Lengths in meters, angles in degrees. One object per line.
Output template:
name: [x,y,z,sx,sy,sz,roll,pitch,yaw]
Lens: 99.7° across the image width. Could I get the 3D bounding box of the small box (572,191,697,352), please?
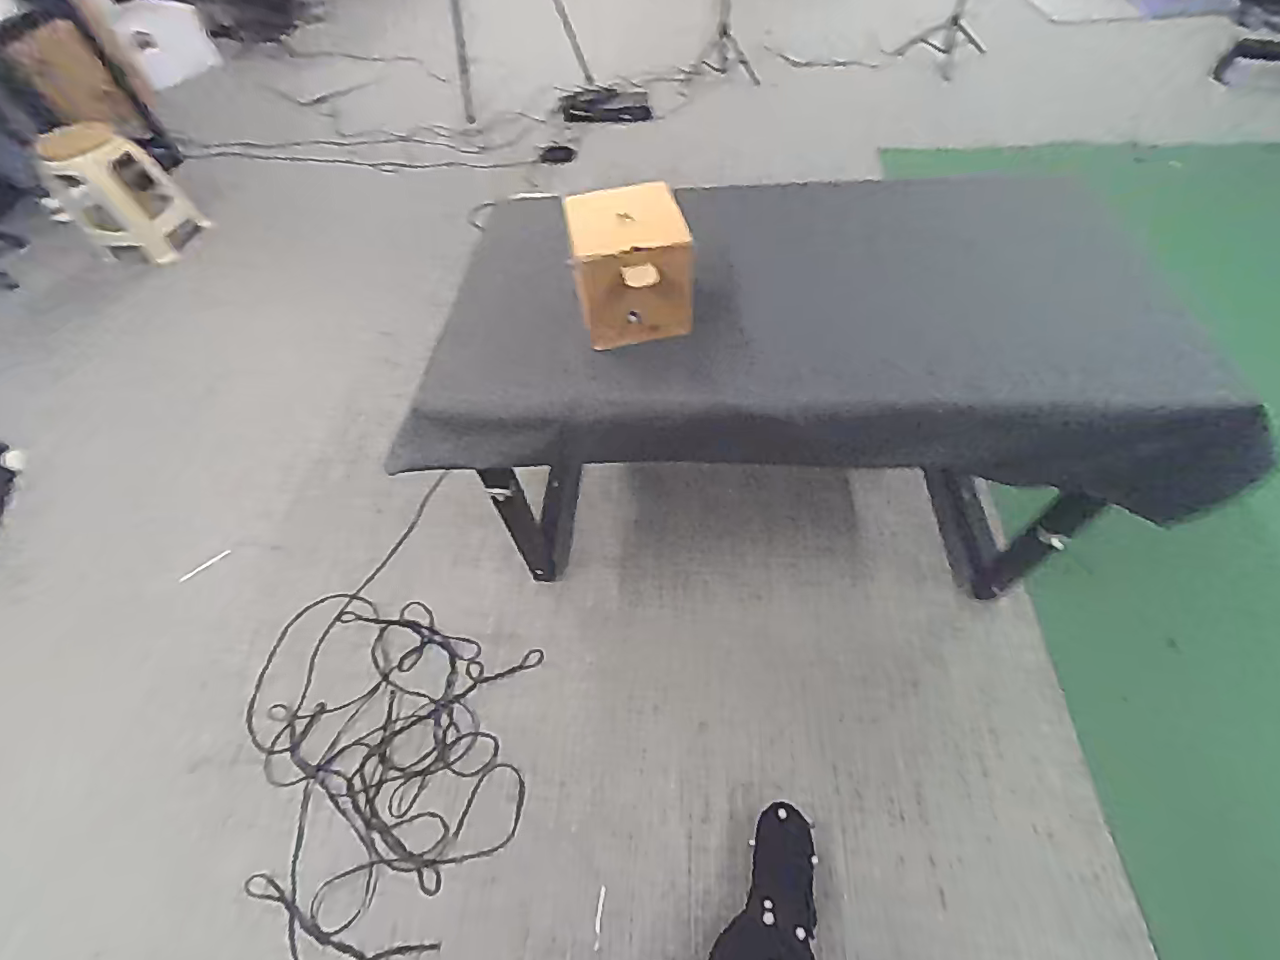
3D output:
small box: [-0.011,-0.334,0.874,0.168,0.176,0.179,-11,55,-5]
